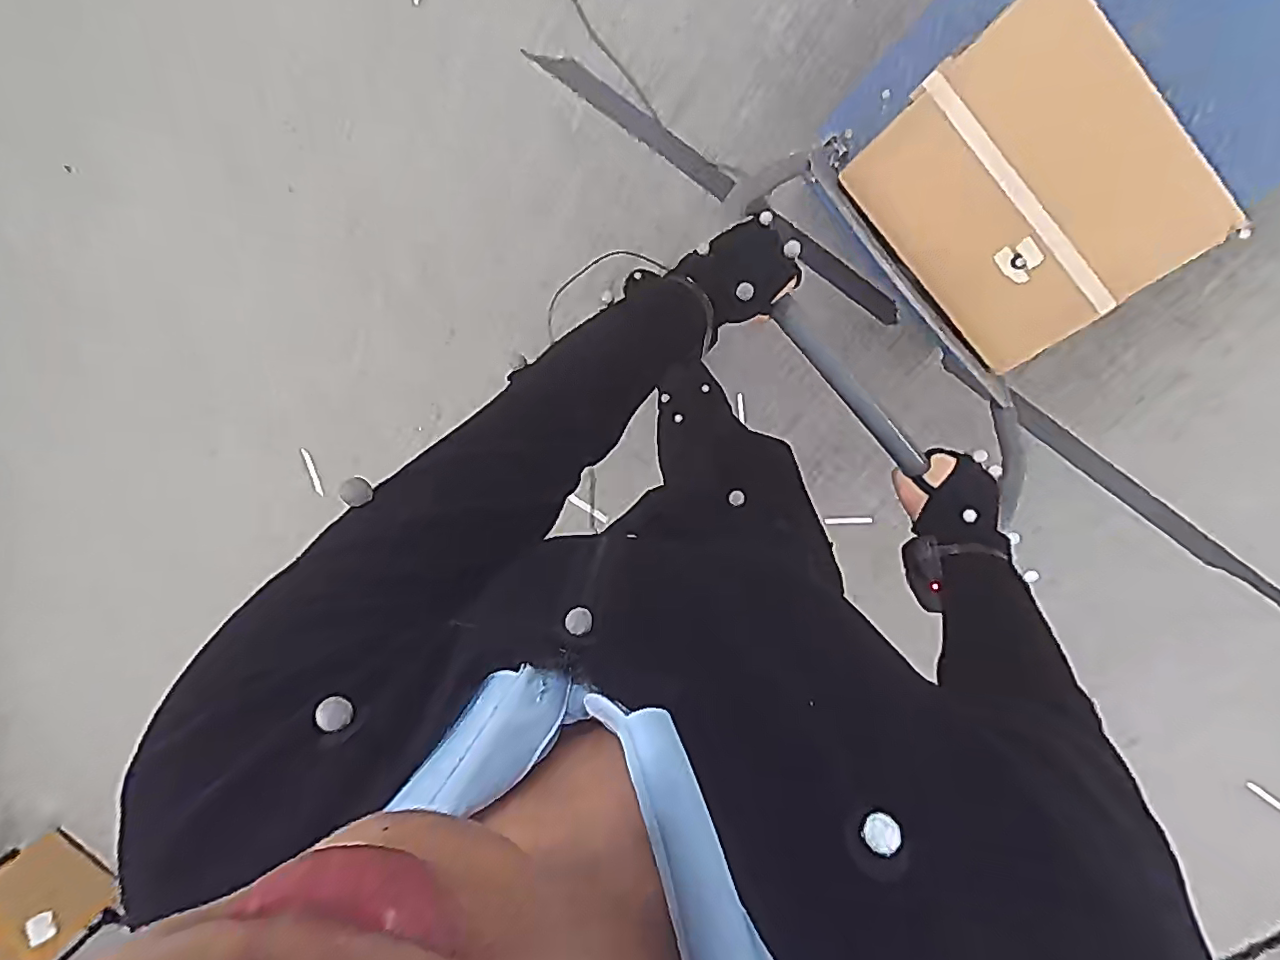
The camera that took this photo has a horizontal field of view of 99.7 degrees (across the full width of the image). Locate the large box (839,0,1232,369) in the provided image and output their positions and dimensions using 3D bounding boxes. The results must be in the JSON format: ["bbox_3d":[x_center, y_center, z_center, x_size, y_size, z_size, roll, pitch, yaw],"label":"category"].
[{"bbox_3d":[0.585,-0.465,0.880,0.408,0.320,0.320,46,127,-7],"label":"large box"}]
